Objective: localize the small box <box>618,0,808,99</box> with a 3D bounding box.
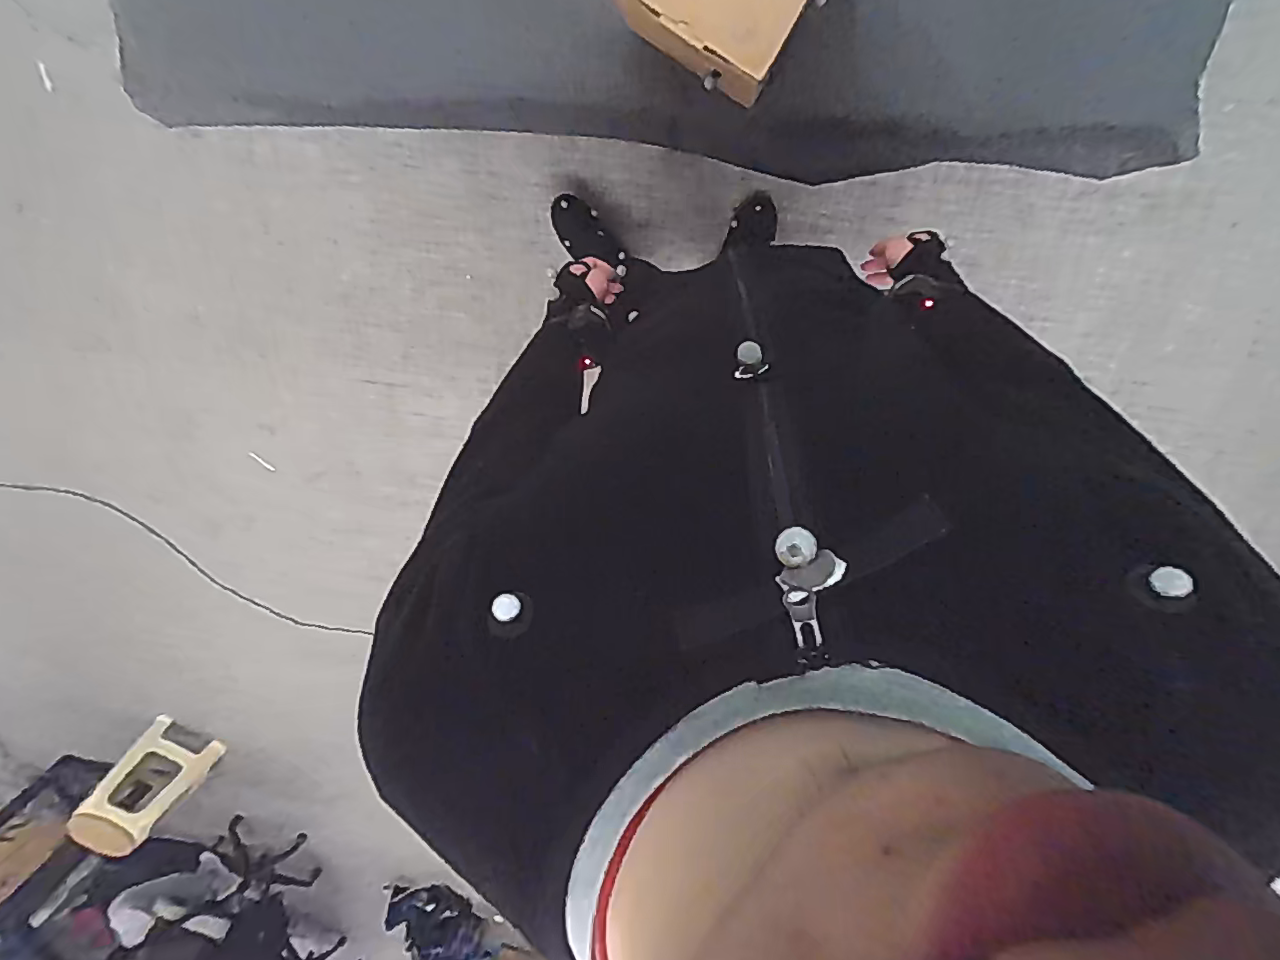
[{"bbox_3d":[0.085,-0.492,0.499,0.168,0.176,0.179,28,117,-9],"label":"small box"}]
